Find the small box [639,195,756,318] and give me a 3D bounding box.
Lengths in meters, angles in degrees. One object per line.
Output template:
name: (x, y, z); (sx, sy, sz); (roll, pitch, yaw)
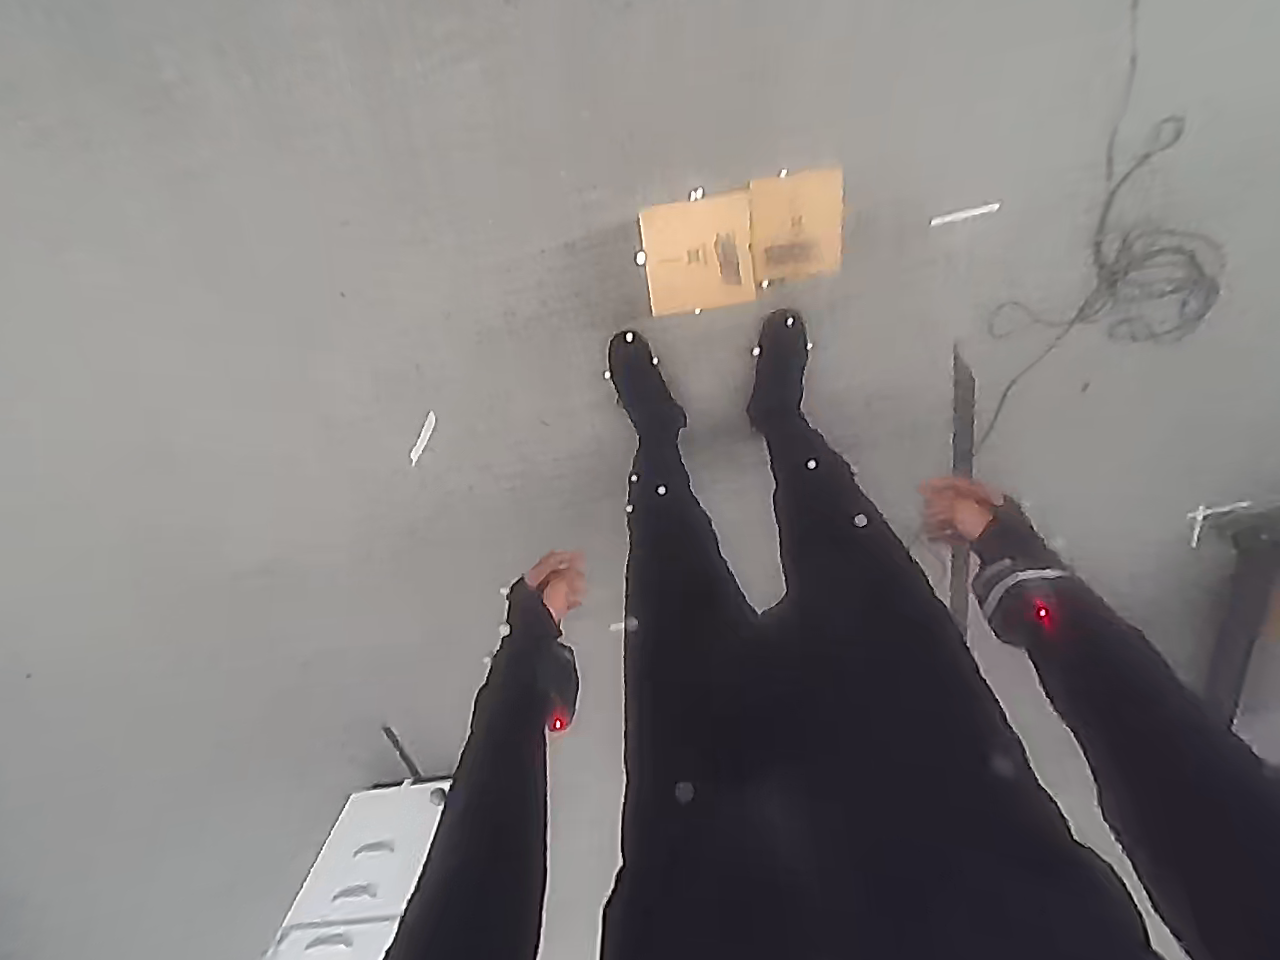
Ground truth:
small box: (0.097, -0.387, 0.934); (0.179, 0.176, 0.168); (-7, 114, 6)
